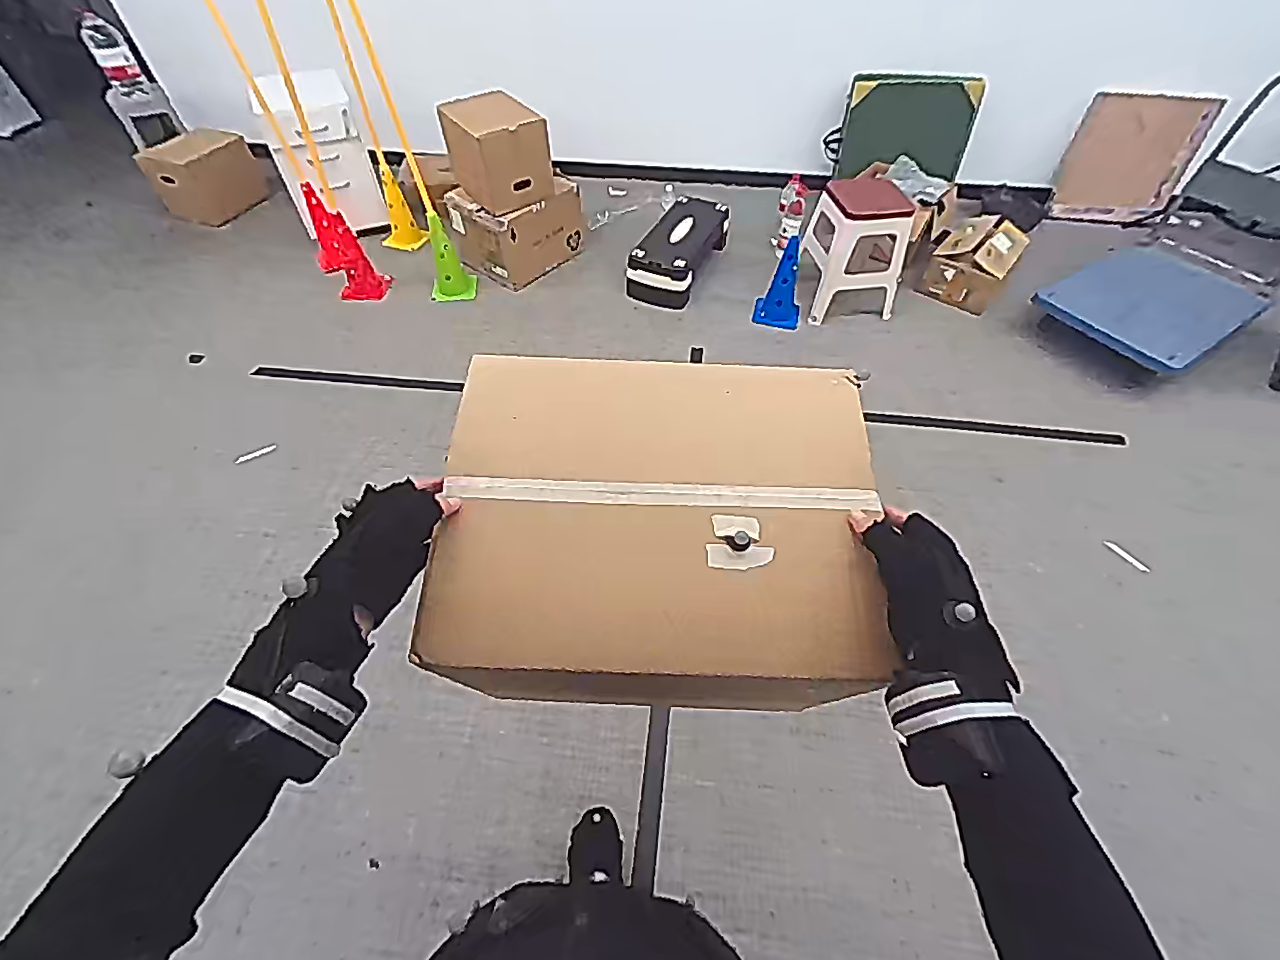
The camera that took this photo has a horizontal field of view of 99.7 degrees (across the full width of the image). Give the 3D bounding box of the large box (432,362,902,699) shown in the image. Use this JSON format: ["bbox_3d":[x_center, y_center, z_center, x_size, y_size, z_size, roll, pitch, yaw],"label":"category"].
[{"bbox_3d":[0.020,0.082,0.648,0.408,0.320,0.320,3,64,-1],"label":"large box"}]
